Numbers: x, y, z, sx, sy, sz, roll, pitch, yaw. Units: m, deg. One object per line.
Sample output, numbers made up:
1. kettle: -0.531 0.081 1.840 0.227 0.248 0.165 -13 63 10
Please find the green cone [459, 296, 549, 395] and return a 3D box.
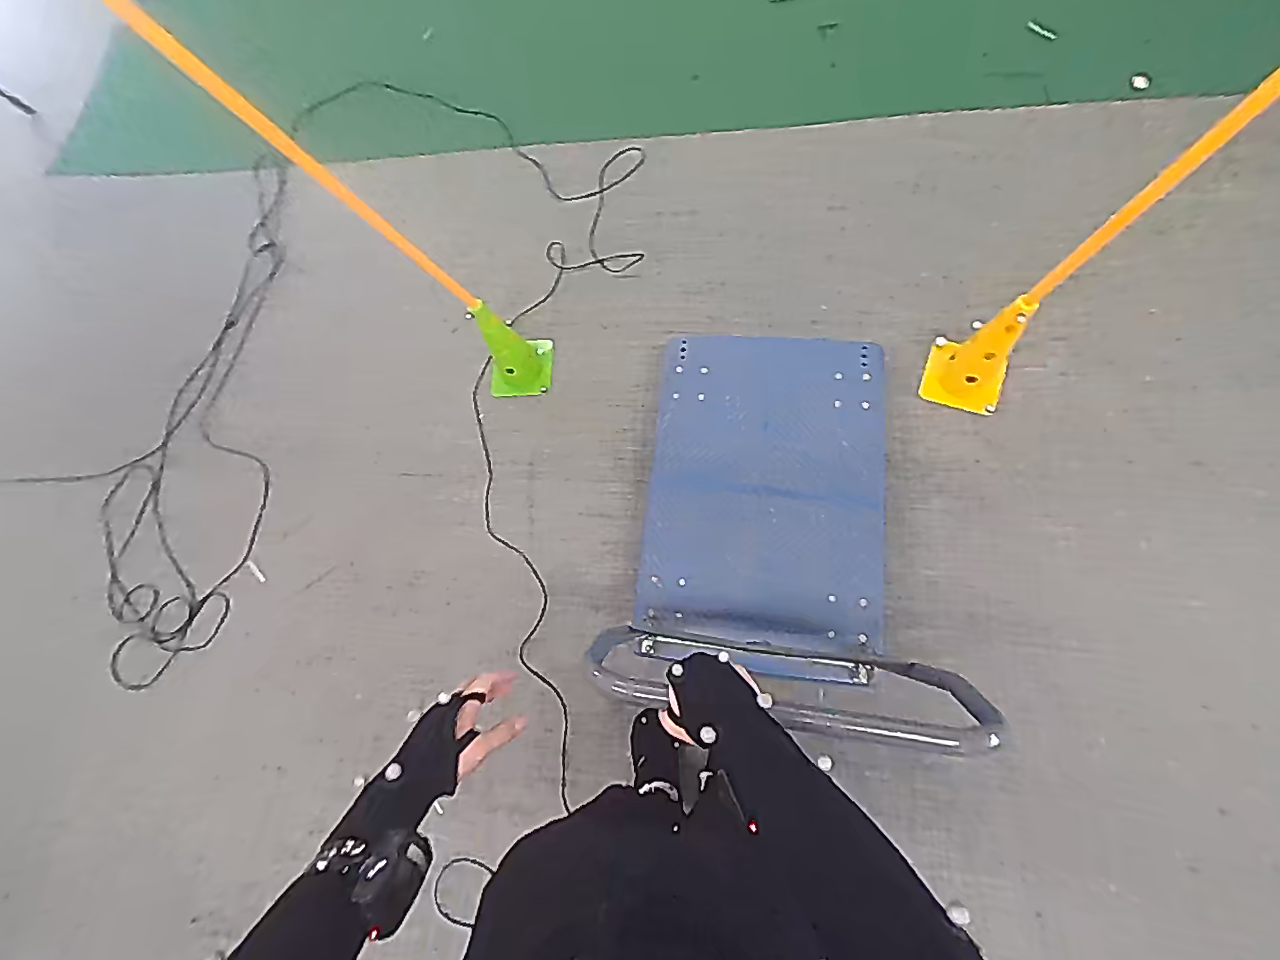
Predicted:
1. green cone: -0.425 -0.424 1.598 0.202 0.368 0.200 -2 72 10
